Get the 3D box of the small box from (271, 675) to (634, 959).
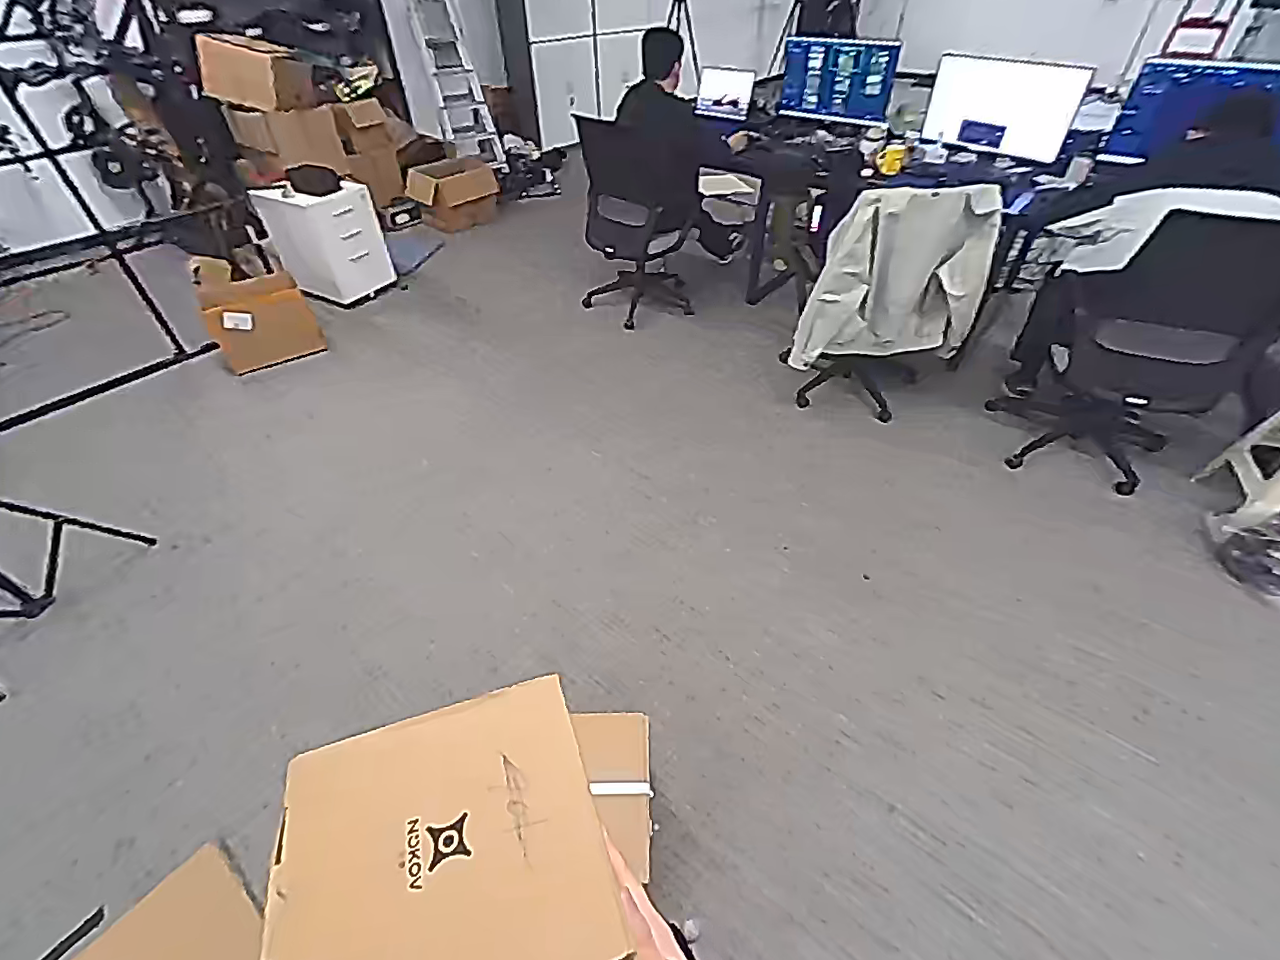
[{"bbox_3d":[-0.109,0.268,0.356,0.179,0.176,0.168,-13,42,-17],"label":"small box"}]
